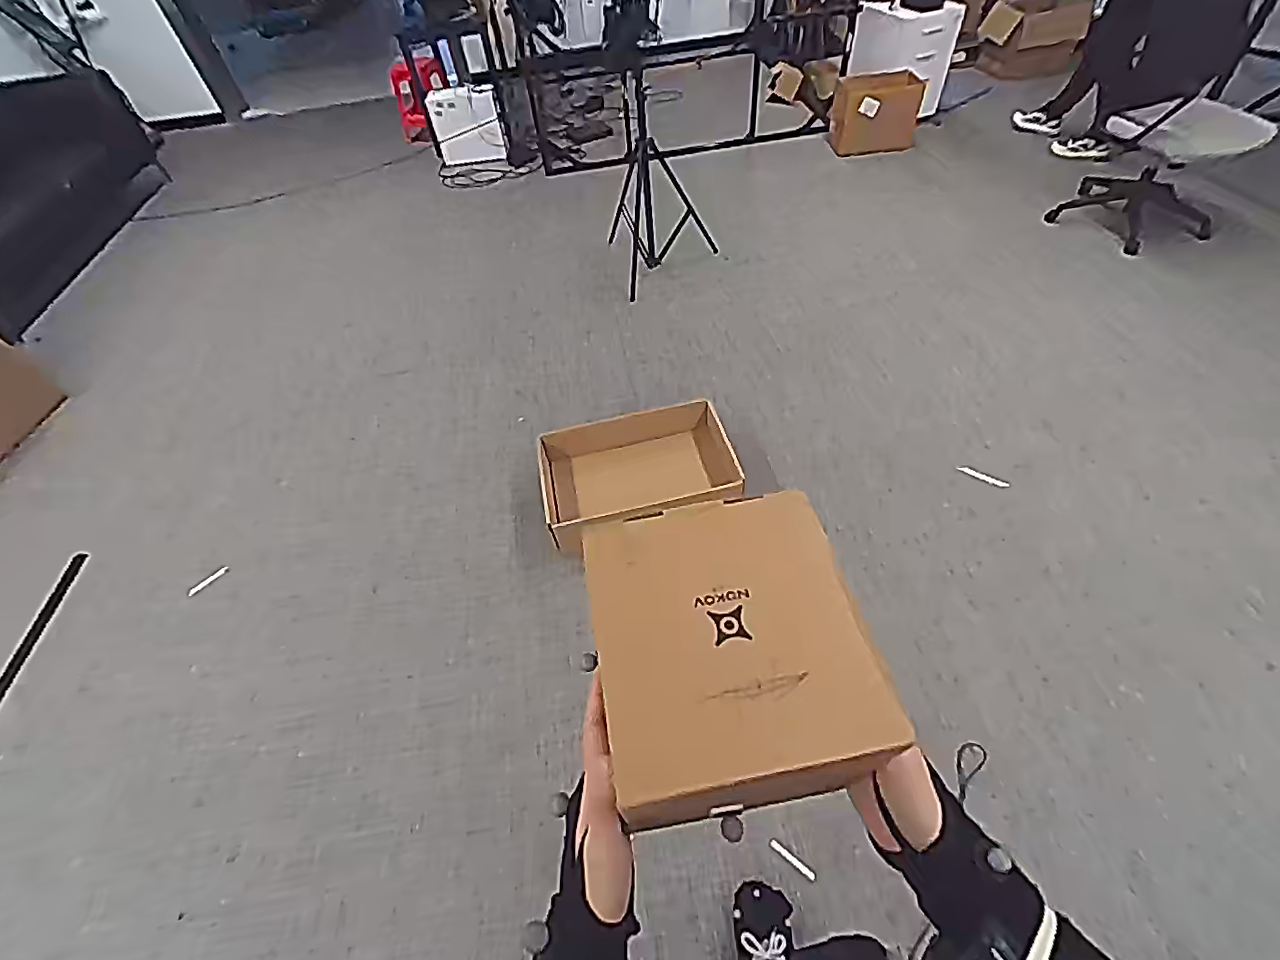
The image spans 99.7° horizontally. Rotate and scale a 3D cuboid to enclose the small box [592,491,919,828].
[{"bbox_3d":[0.061,0.136,0.402,0.168,0.176,0.179,-10,54,-5],"label":"small box"}]
